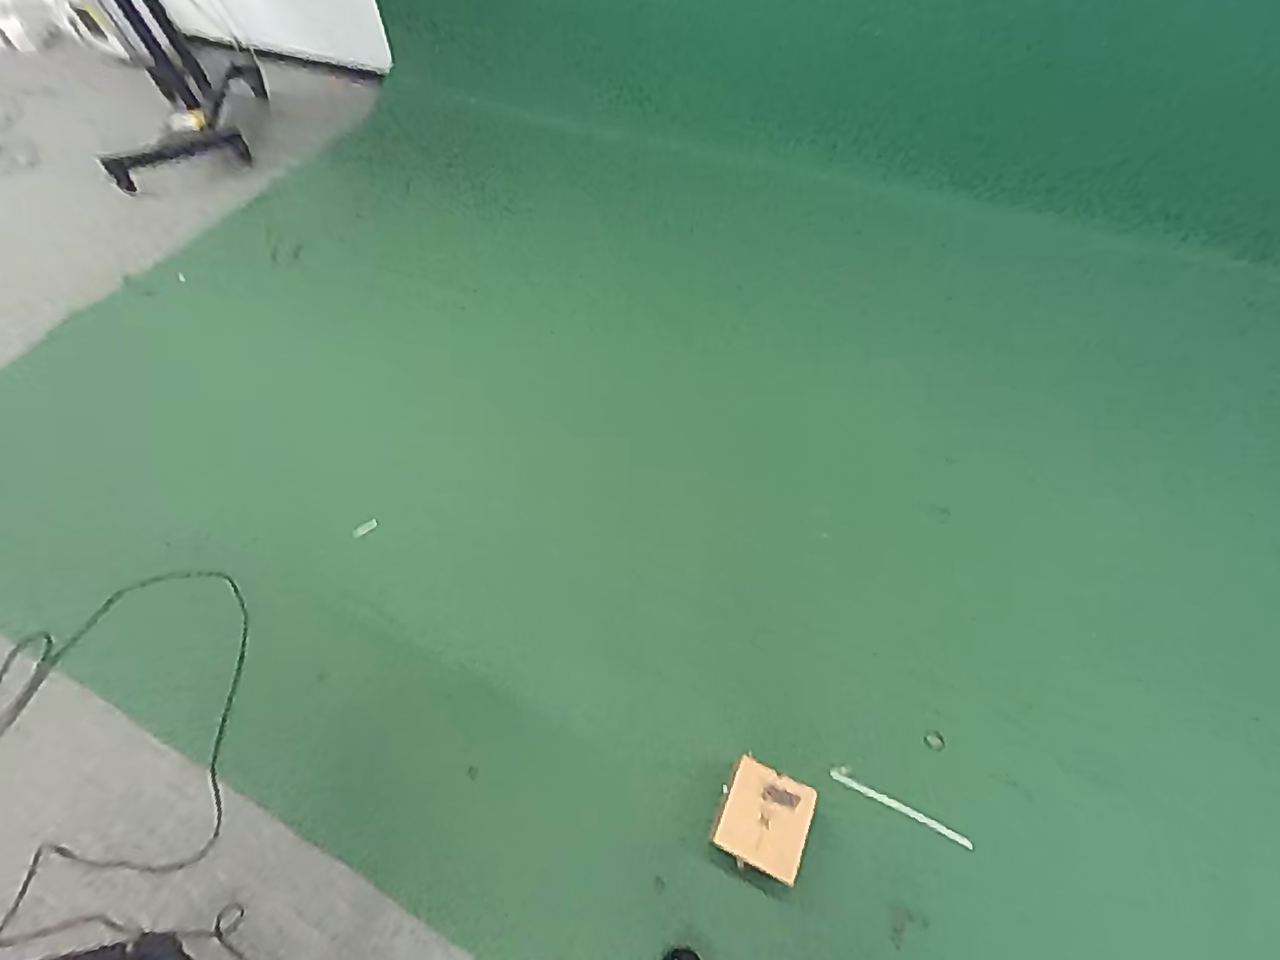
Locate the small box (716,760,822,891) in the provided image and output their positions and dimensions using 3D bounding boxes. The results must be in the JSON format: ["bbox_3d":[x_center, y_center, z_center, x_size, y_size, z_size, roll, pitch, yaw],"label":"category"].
[{"bbox_3d":[0.268,0.732,1.158,0.168,0.176,0.179,21,62,16],"label":"small box"}]
